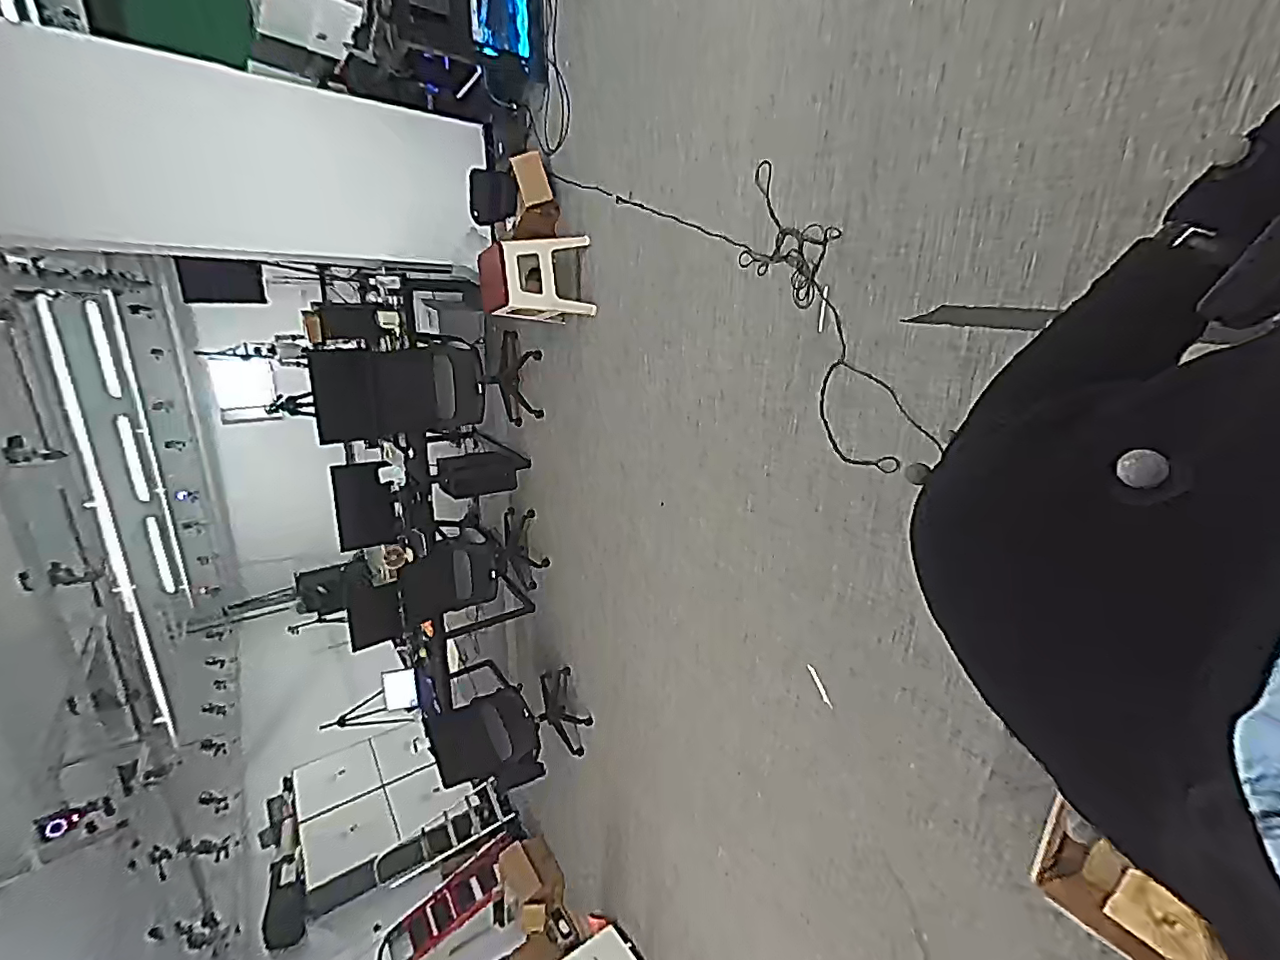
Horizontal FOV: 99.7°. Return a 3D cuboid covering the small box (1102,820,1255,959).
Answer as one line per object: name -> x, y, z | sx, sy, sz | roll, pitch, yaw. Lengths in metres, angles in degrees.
small box -> 1.115, 0.862, 1.120 | 0.168, 0.176, 0.179 | 31, 123, 47
